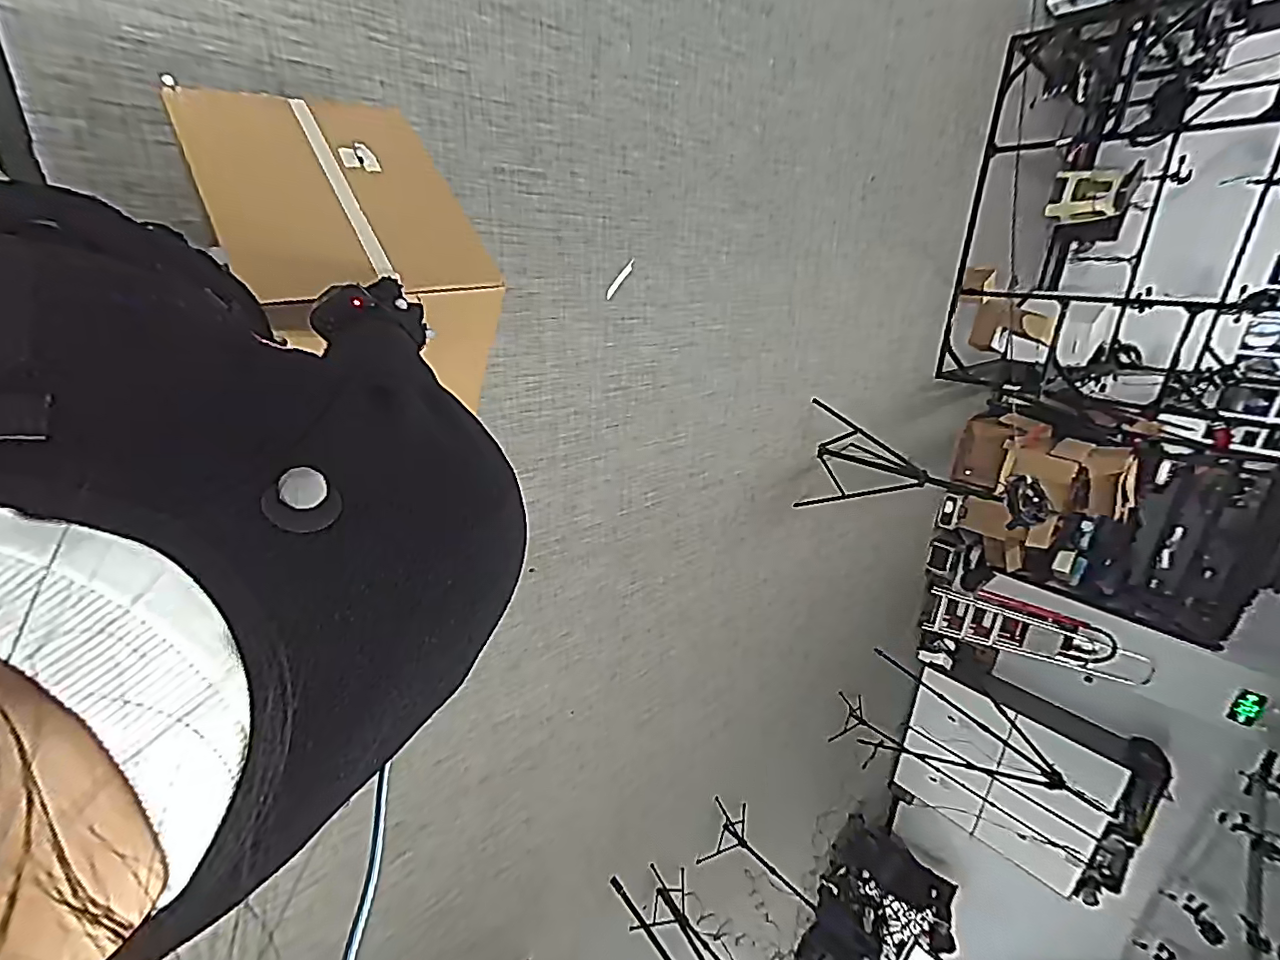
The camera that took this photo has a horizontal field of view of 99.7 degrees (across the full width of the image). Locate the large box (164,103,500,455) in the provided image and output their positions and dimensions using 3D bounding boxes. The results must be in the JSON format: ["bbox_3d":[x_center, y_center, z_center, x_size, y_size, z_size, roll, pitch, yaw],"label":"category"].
[{"bbox_3d":[-0.474,-0.312,0.866,0.320,0.408,0.320,-20,158,-36],"label":"large box"}]
